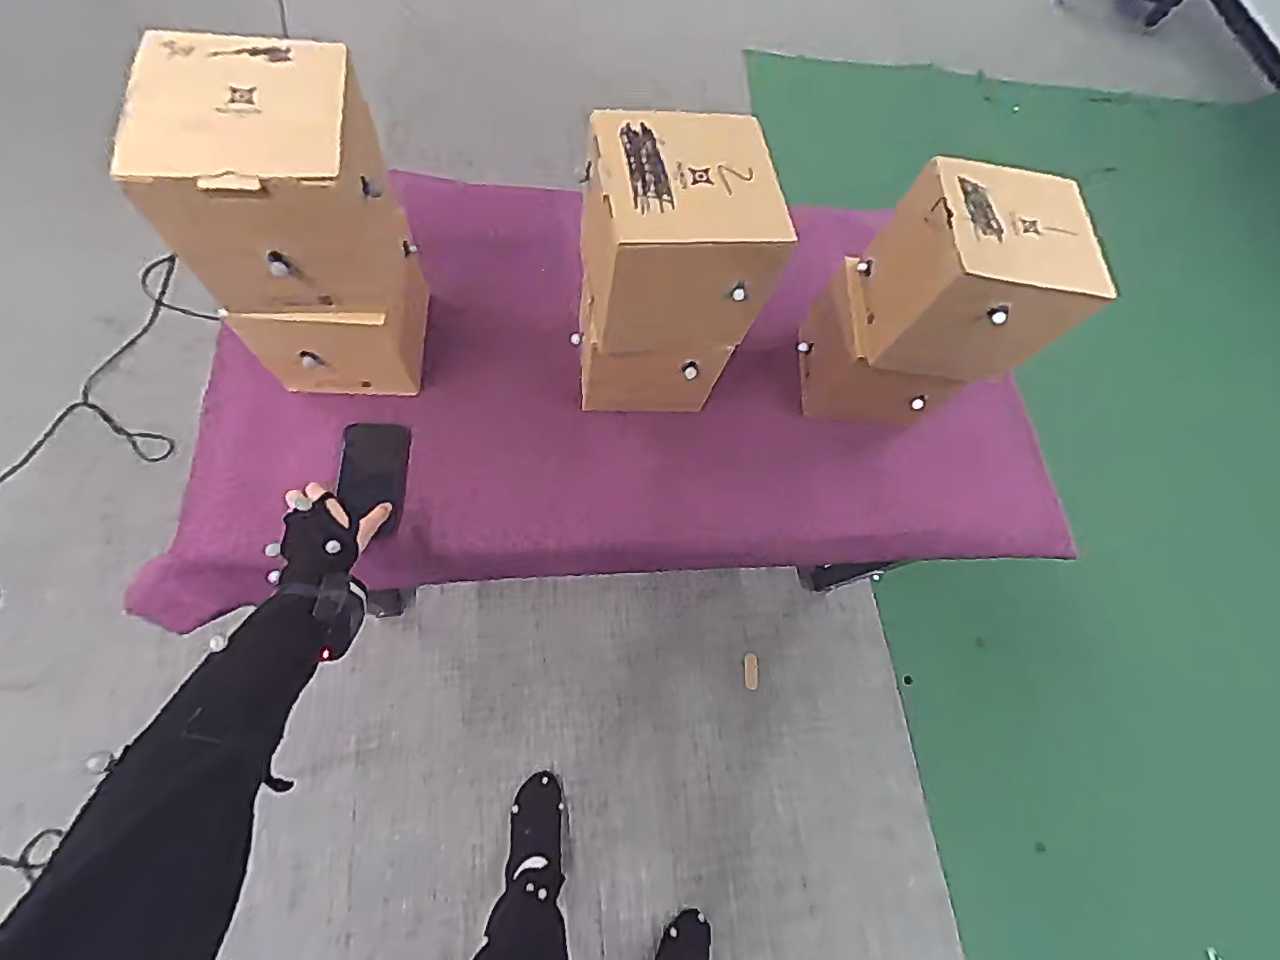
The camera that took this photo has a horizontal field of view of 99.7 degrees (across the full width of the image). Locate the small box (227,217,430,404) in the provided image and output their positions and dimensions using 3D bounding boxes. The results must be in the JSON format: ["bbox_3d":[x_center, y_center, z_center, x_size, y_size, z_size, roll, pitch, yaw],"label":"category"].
[{"bbox_3d":[-0.375,-0.211,0.690,0.168,0.176,0.179,0,68,-9],"label":"small box"}]

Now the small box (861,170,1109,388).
[{"bbox_3d":[0.382,-0.226,0.641,0.179,0.176,0.168,6,67,-8],"label":"small box"}]

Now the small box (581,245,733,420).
[{"bbox_3d":[0.012,-0.192,0.744,0.179,0.176,0.168,0,68,-9],"label":"small box"}]

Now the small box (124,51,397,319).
[{"bbox_3d":[-0.351,-0.279,0.542,0.168,0.176,0.179,-4,70,-12],"label":"small box"}]

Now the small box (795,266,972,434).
[{"bbox_3d":[0.348,-0.180,0.795,0.179,0.176,0.168,6,67,-7],"label":"small box"}]
